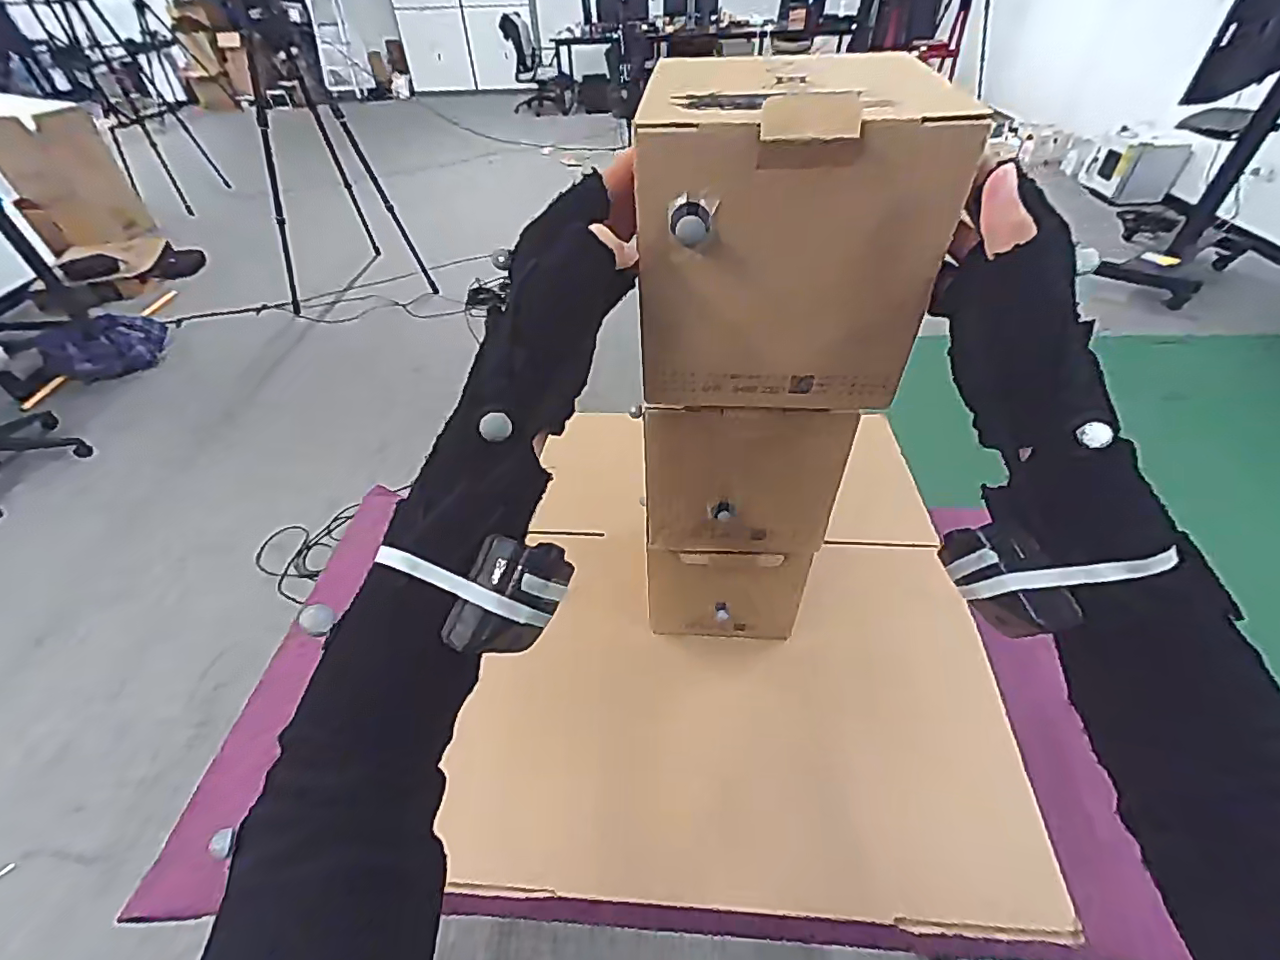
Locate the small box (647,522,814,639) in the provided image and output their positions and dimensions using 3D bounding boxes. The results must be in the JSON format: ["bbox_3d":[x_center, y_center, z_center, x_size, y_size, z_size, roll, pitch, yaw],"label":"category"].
[{"bbox_3d":[0.097,0.064,0.643,0.168,0.176,0.179,1,44,5],"label":"small box"}]

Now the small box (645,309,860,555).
[{"bbox_3d":[0.091,-0.049,0.525,0.168,0.176,0.179,0,44,3],"label":"small box"}]
